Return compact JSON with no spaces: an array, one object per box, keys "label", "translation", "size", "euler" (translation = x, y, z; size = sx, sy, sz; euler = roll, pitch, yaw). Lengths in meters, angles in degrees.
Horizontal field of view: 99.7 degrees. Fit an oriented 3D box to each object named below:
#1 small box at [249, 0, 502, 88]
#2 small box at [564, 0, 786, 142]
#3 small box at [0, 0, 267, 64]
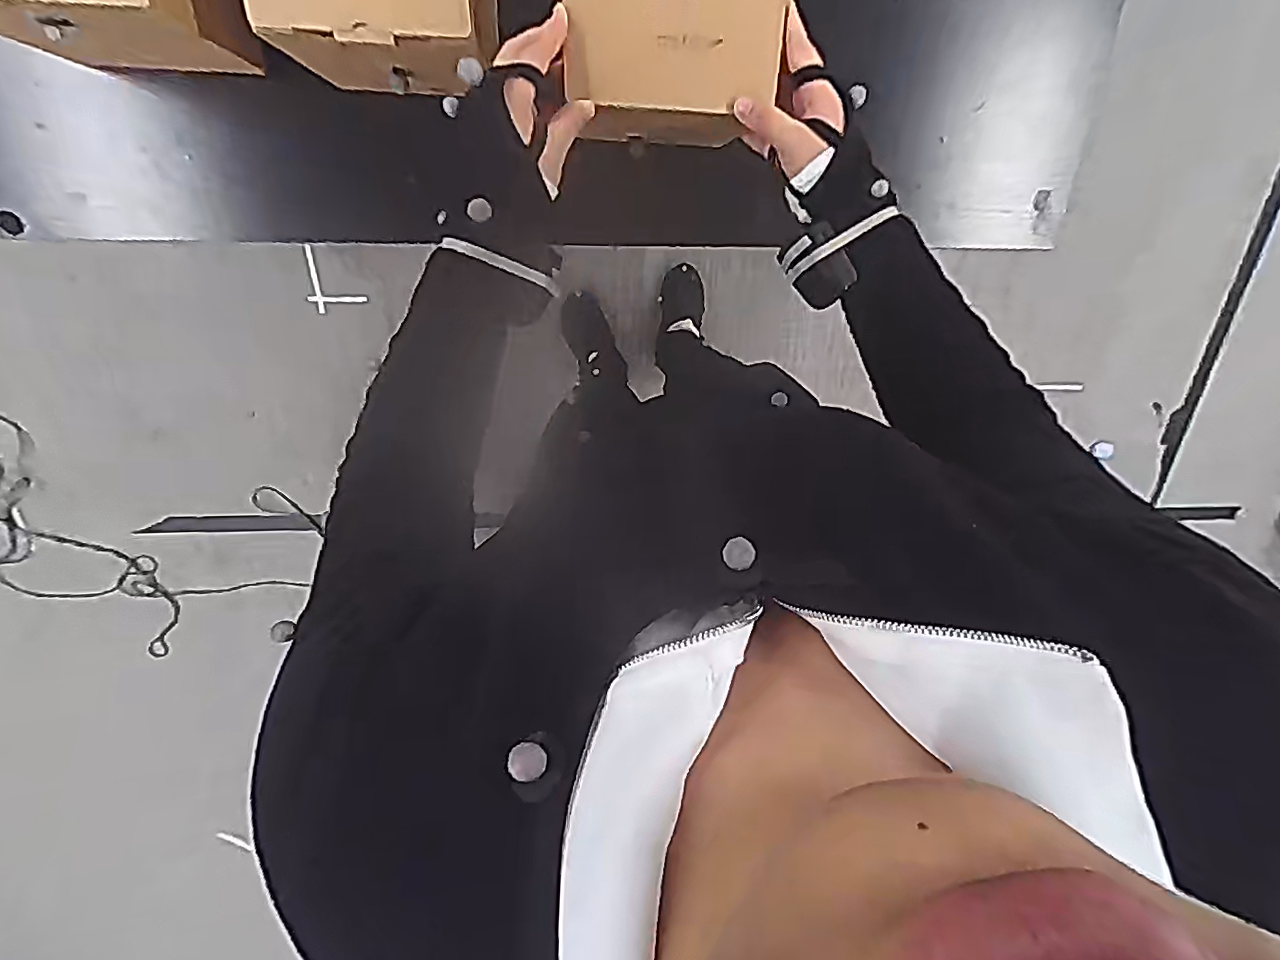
[{"label":"small box","translation":[-0.214,-0.453,0.453],"size":[0.168,0.176,0.179],"euler":[0,114,-6]},{"label":"small box","translation":[0.019,-0.405,0.458],"size":[0.168,0.176,0.179],"euler":[-1,116,-6]},{"label":"small box","translation":[-0.445,-0.454,0.427],"size":[0.179,0.176,0.168],"euler":[-2,114,-6]}]
